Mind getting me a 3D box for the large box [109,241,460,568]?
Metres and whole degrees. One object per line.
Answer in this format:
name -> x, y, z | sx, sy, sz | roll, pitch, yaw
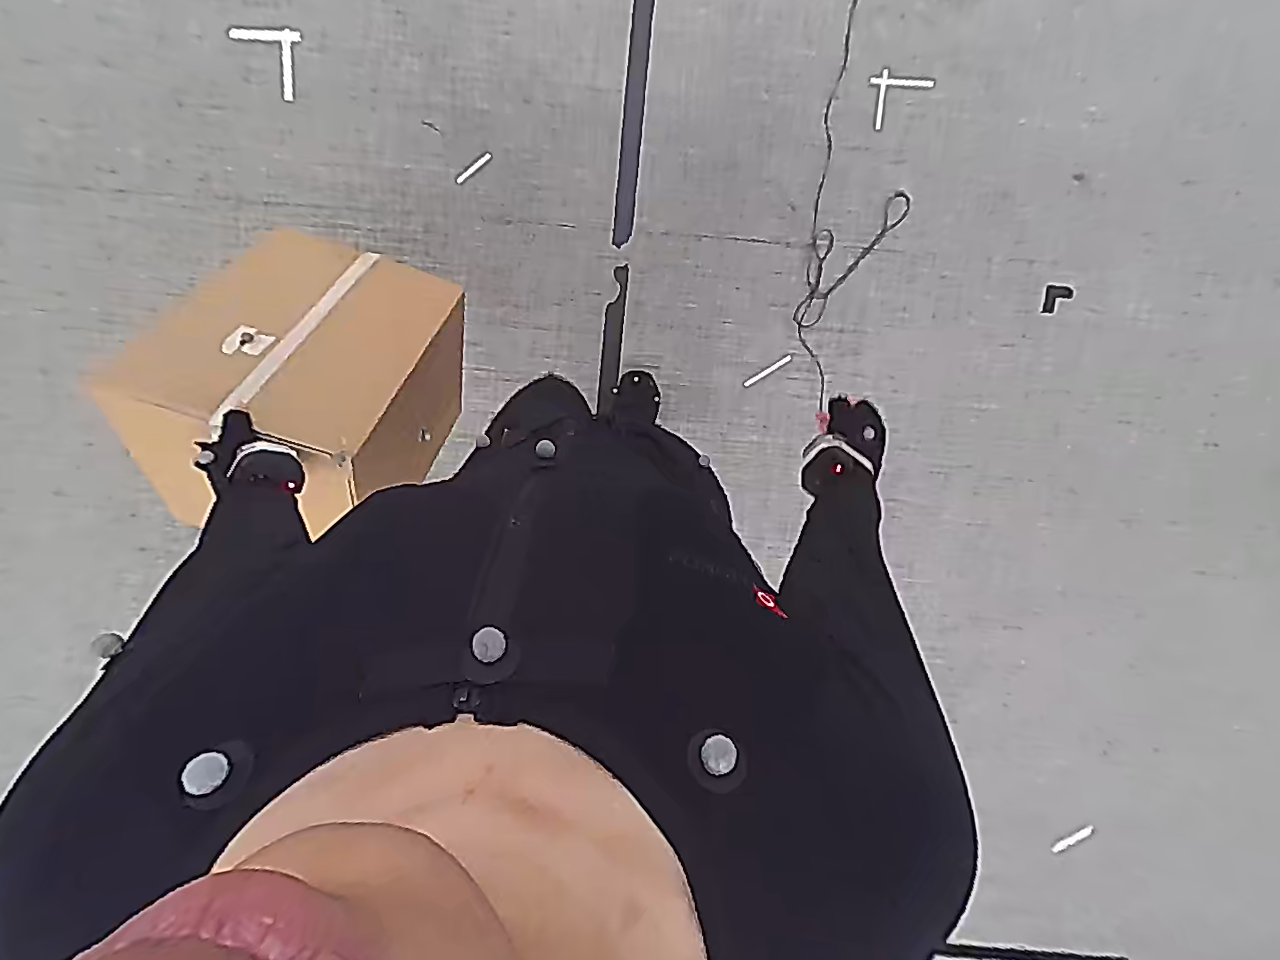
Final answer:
large box -> -0.522, -0.125, 0.916 | 0.320, 0.408, 0.320 | 16, 140, -6
